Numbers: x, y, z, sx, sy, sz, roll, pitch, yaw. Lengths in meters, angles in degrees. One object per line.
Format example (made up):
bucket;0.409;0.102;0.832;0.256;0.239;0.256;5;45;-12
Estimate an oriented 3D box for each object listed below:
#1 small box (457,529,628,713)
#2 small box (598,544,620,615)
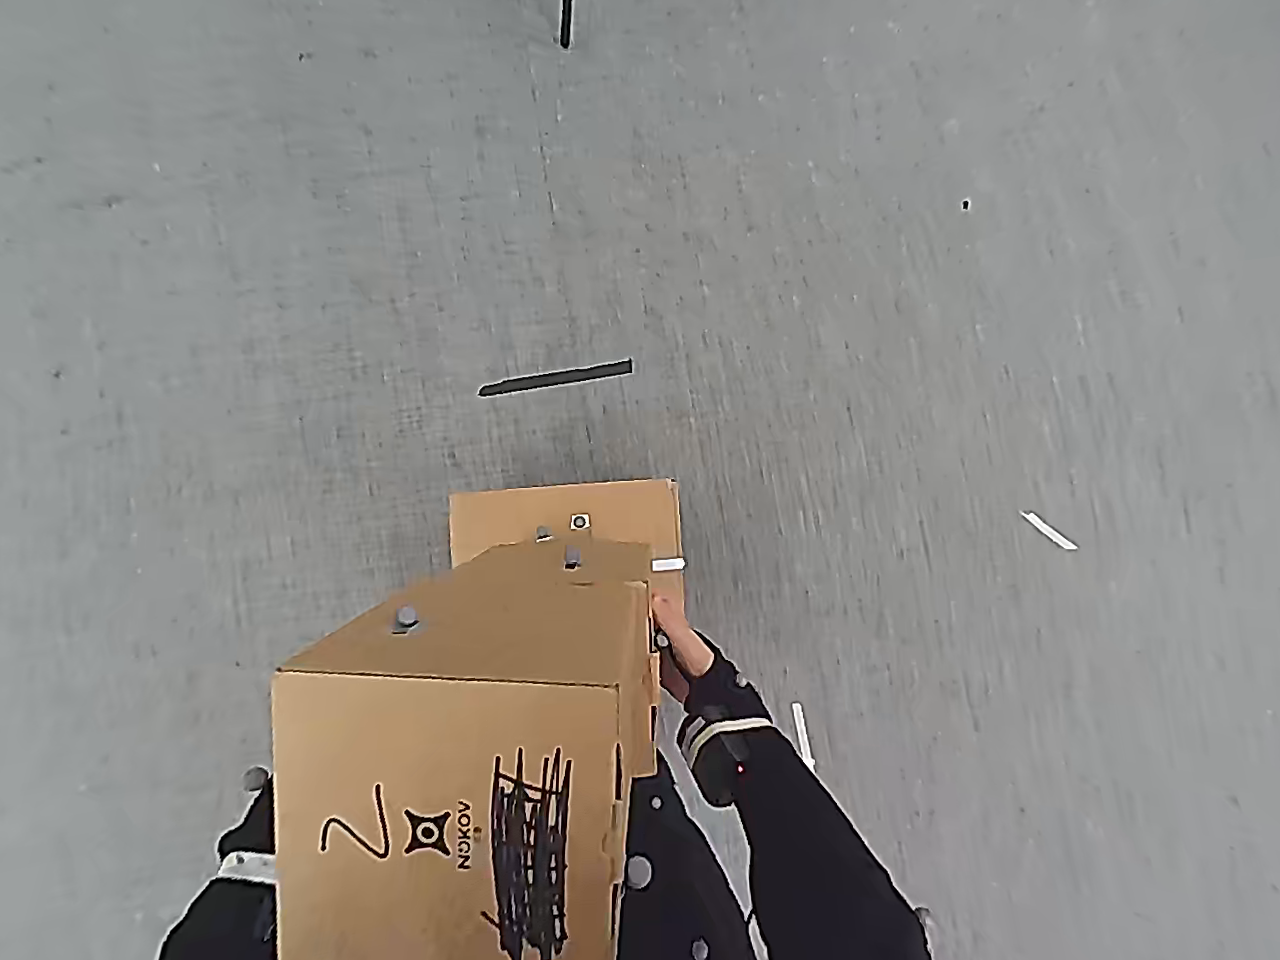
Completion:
small box;-0.118;0.170;0.710;0.168;0.176;0.179;-16;88;-5
small box;-0.122;0.192;0.872;0.179;0.176;0.168;-1;88;-4
